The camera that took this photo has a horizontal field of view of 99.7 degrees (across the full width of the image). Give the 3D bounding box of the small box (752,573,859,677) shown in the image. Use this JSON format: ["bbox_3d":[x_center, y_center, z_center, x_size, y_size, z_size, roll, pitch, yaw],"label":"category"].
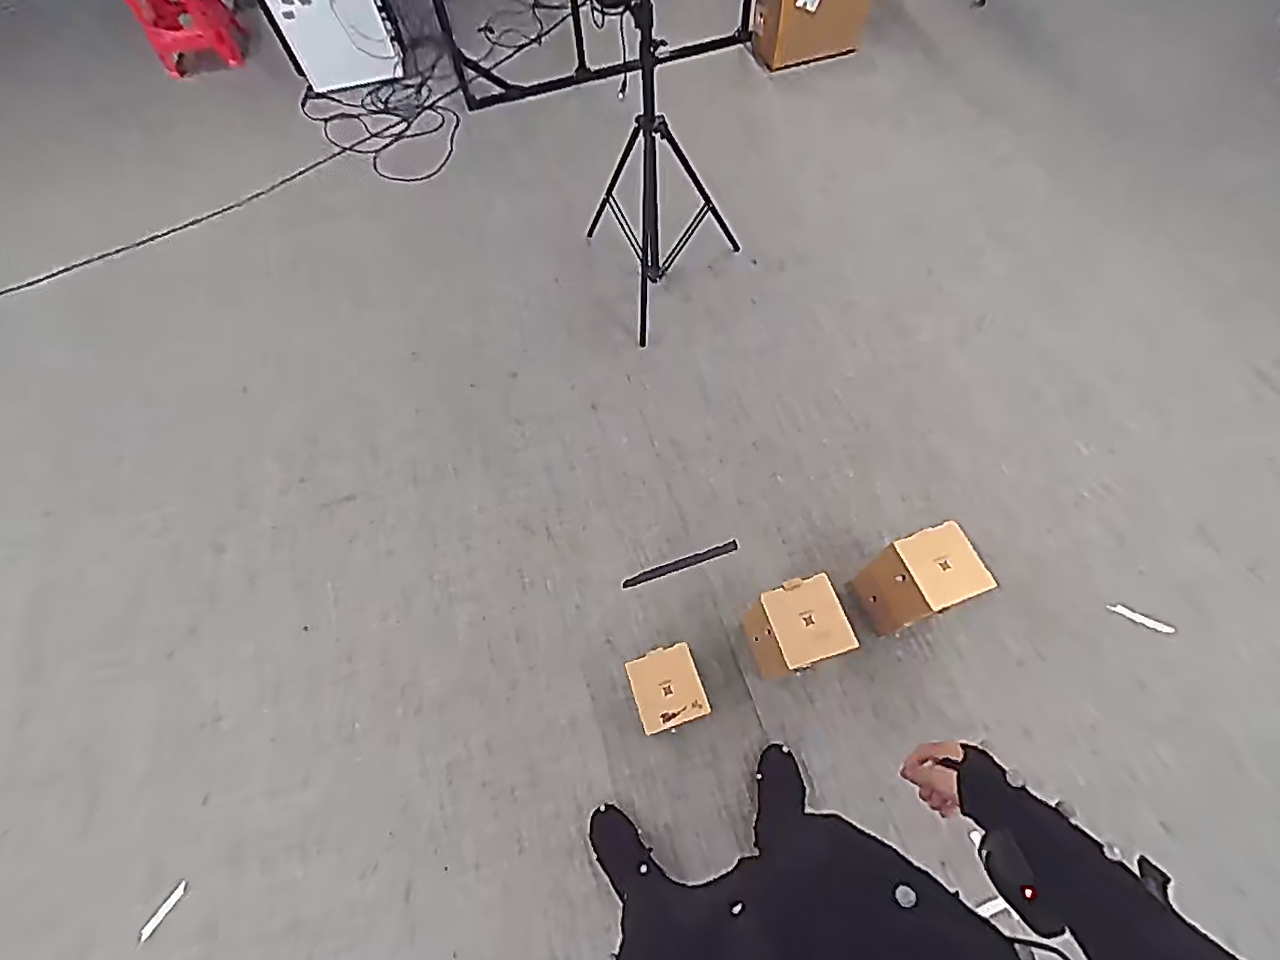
[{"bbox_3d":[0.373,0.342,1.259,0.168,0.176,0.179,-17,65,-4],"label":"small box"}]

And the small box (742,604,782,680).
[{"bbox_3d":[0.377,0.407,1.409,0.168,0.176,0.179,-17,65,-5],"label":"small box"}]

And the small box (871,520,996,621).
[{"bbox_3d":[0.693,0.226,1.300,0.168,0.176,0.179,-19,64,-6],"label":"small box"}]

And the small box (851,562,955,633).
[{"bbox_3d":[0.698,0.297,1.446,0.168,0.176,0.179,-20,65,-7],"label":"small box"}]

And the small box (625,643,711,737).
[{"bbox_3d":[0.068,0.535,1.368,0.168,0.176,0.179,-18,64,-5],"label":"small box"}]
